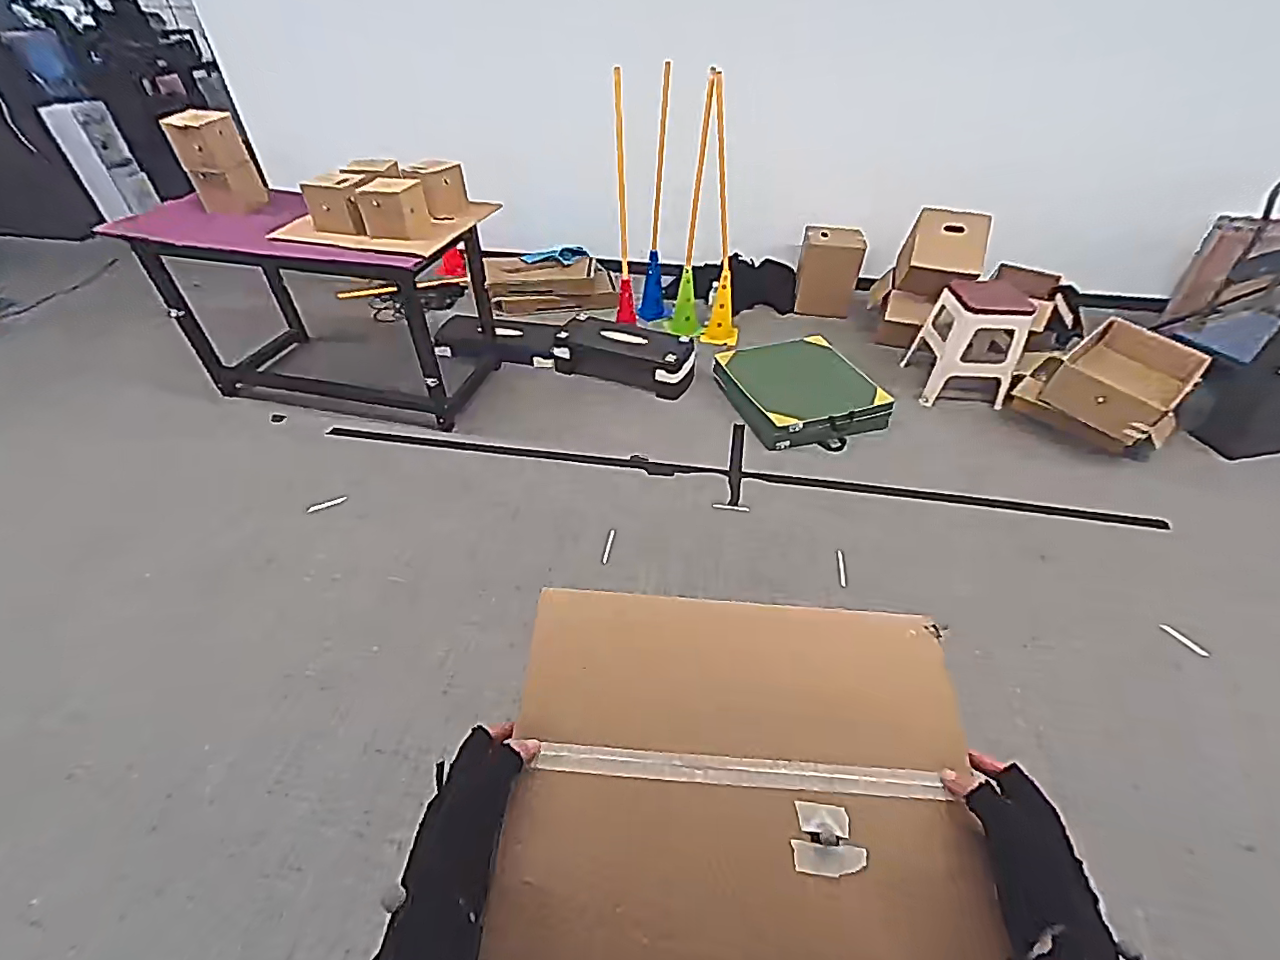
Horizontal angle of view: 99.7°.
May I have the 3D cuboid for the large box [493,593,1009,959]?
[{"bbox_3d":[0.087,0.343,0.611,0.408,0.320,0.320,4,55,1],"label":"large box"}]
